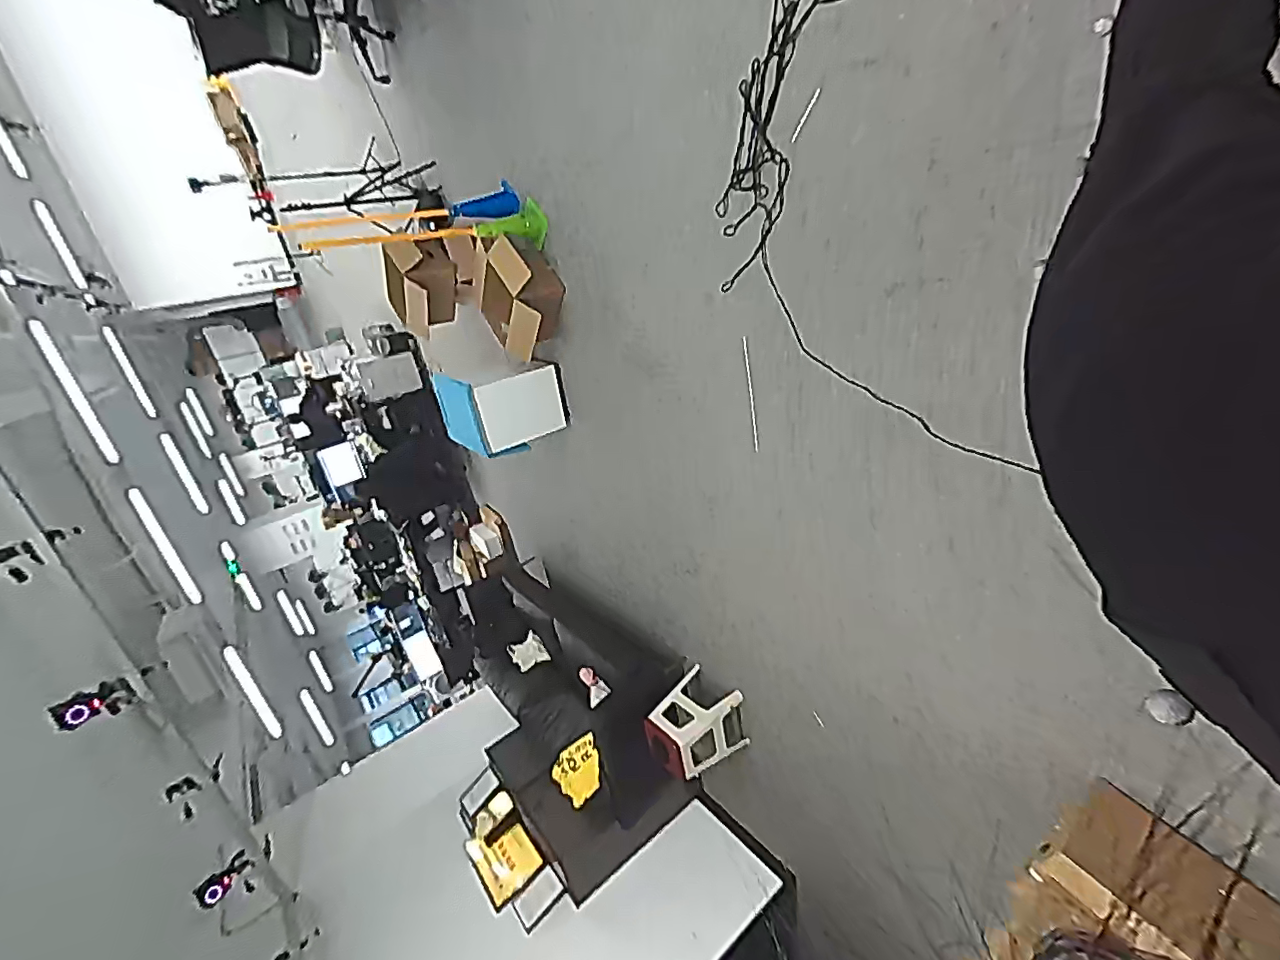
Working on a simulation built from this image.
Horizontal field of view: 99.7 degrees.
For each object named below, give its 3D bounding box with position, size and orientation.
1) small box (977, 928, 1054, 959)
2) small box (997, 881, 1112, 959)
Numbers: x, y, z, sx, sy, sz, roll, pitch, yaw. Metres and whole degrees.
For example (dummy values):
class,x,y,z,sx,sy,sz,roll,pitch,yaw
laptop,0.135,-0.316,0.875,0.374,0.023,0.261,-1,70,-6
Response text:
class,x,y,z,sx,sy,sz,roll,pitch,yaw
small box,0.955,1.270,1.348,0.179,0.176,0.168,39,142,36
small box,1.087,1.214,1.423,0.168,0.176,0.179,39,141,37
